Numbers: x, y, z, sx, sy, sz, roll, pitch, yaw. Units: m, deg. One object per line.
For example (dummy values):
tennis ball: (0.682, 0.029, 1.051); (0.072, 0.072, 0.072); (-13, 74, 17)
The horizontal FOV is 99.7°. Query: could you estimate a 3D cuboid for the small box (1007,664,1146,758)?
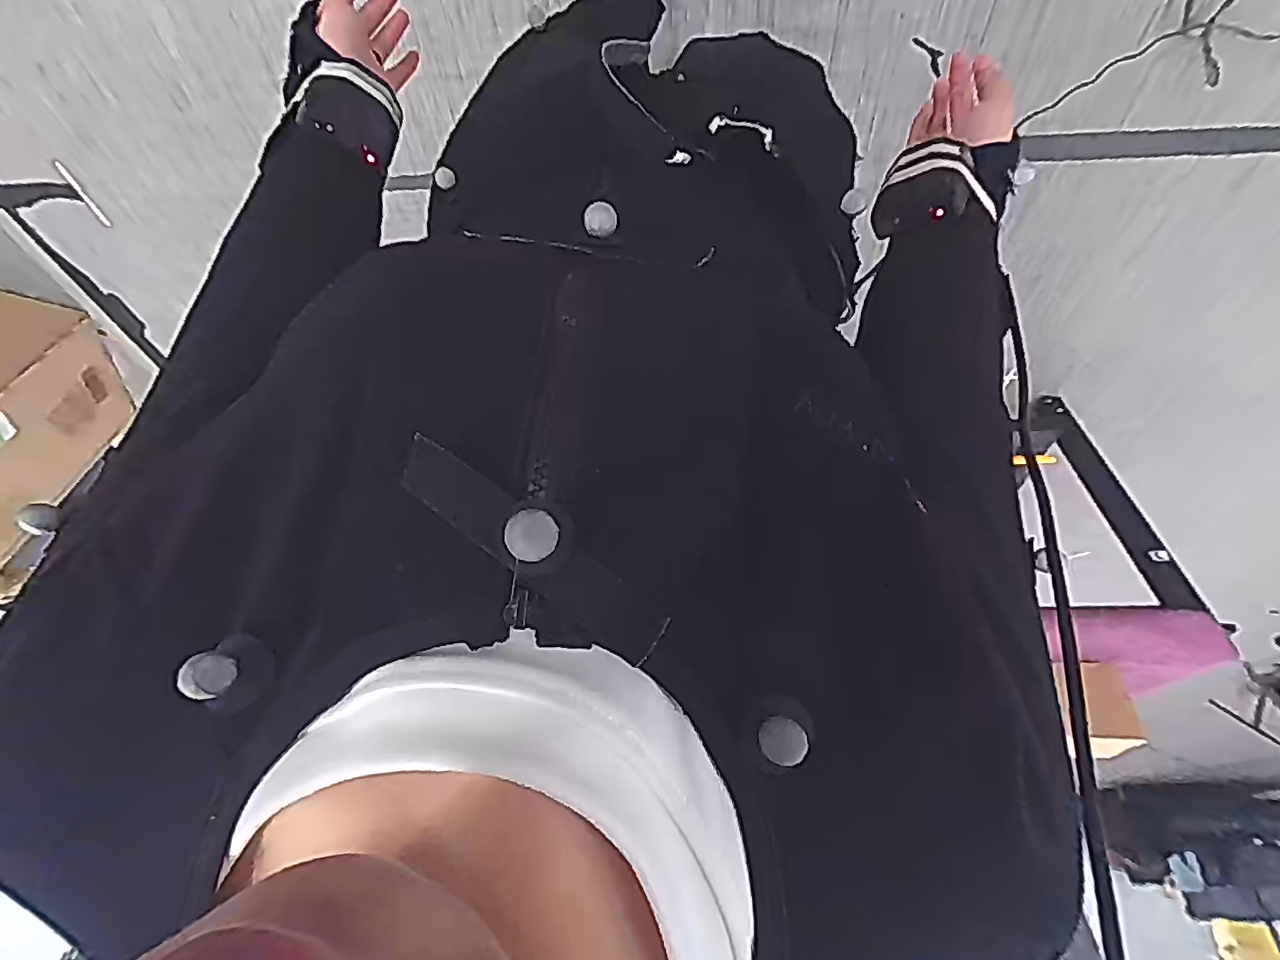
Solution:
small box: (1.014, 0.544, 1.279); (0.179, 0.176, 0.168); (-1, 141, 7)
